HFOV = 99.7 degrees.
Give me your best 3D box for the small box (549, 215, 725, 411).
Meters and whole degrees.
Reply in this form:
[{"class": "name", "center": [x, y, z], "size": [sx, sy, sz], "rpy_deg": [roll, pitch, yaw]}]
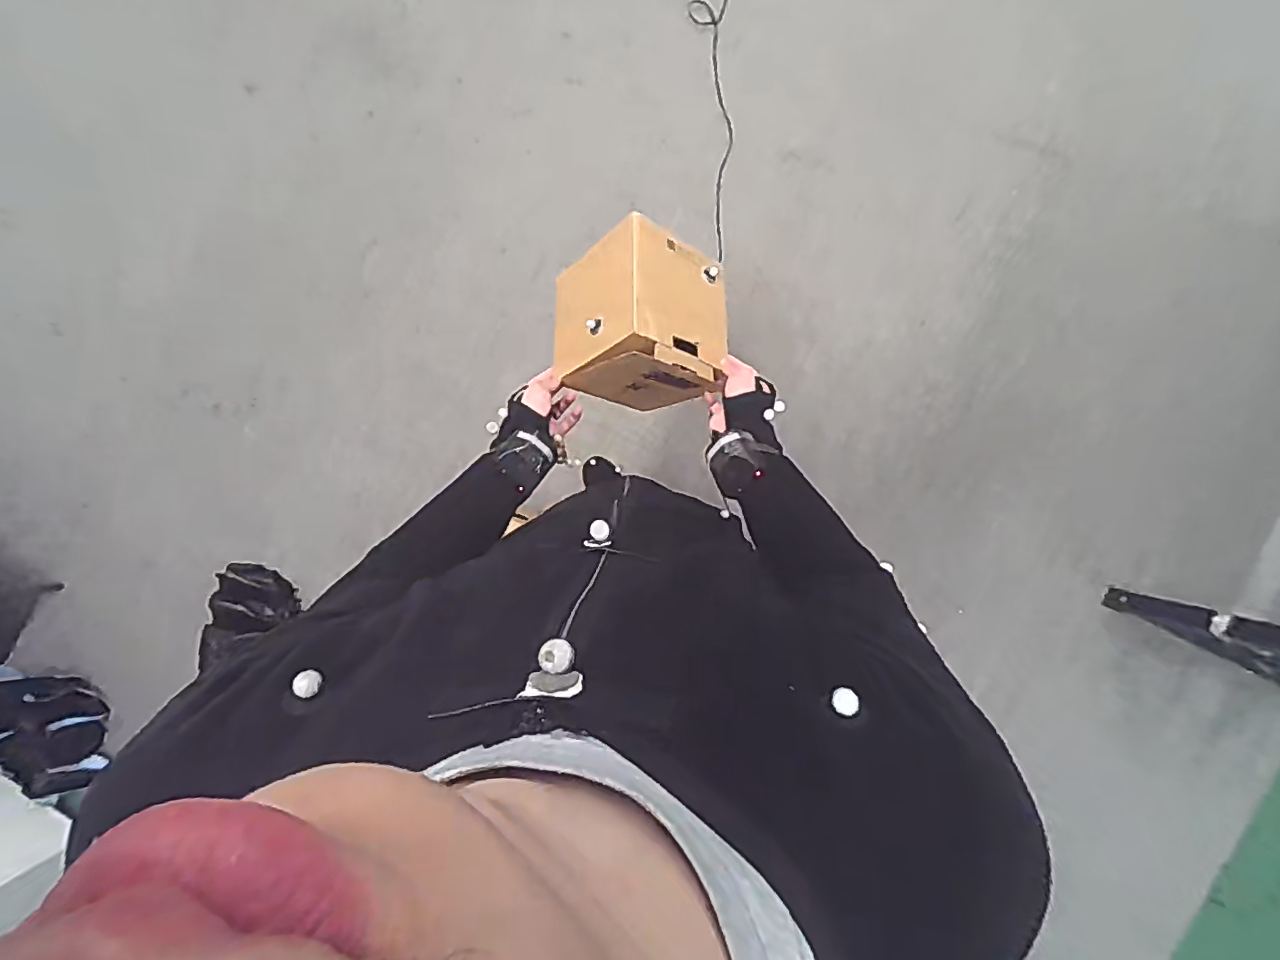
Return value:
[{"class": "small box", "center": [-0.009, -0.213, 0.723], "size": [0.168, 0.179, 0.176], "rpy_deg": [13, 70, -39]}]
